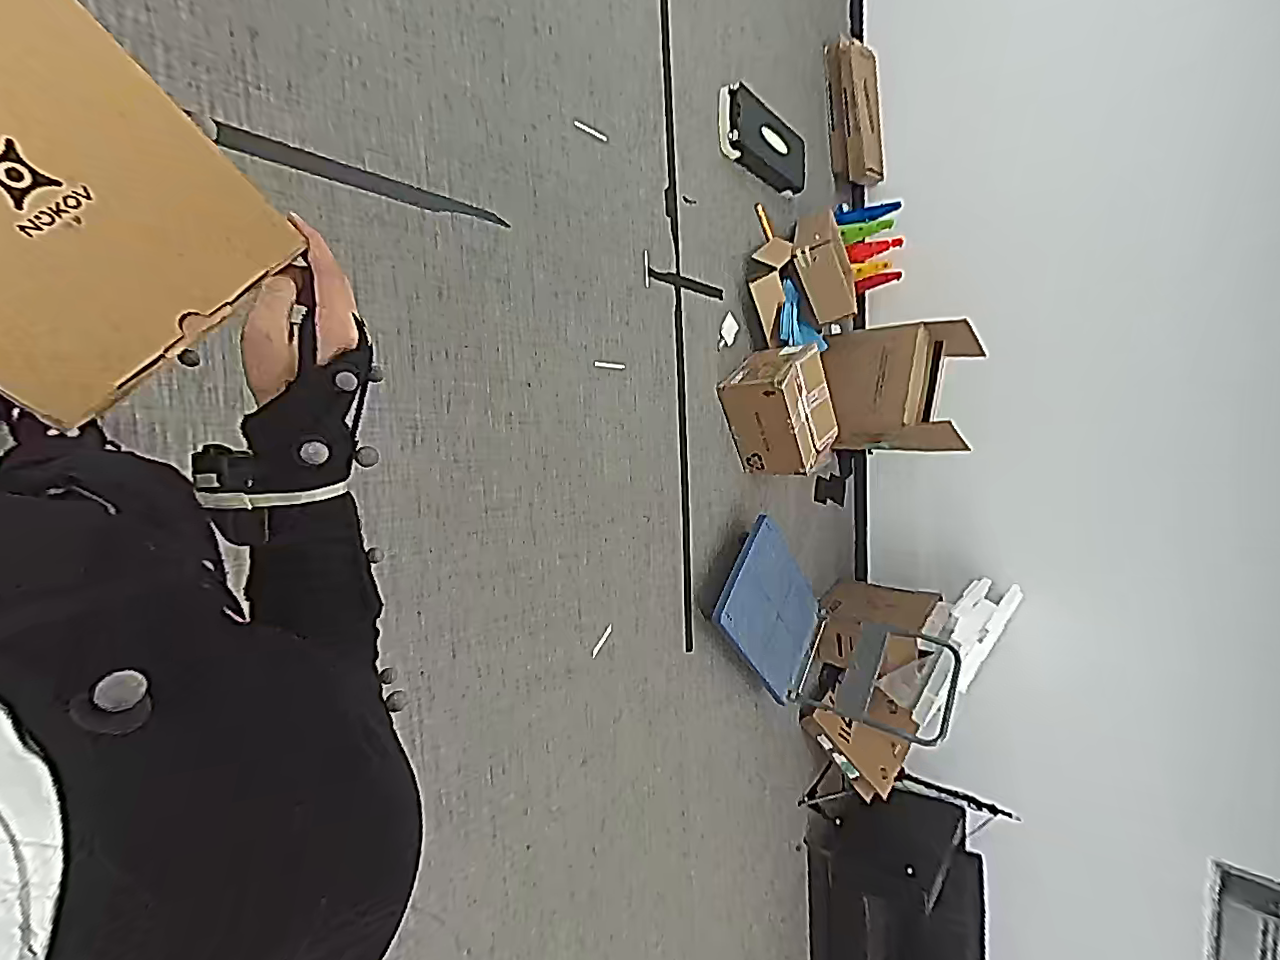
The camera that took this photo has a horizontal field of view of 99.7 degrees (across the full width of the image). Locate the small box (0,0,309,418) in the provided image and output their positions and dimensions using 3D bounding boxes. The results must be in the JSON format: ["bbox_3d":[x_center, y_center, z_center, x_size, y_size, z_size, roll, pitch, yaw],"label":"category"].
[{"bbox_3d":[-0.350,-0.157,0.324,0.168,0.176,0.179,-52,129,-20],"label":"small box"}]
